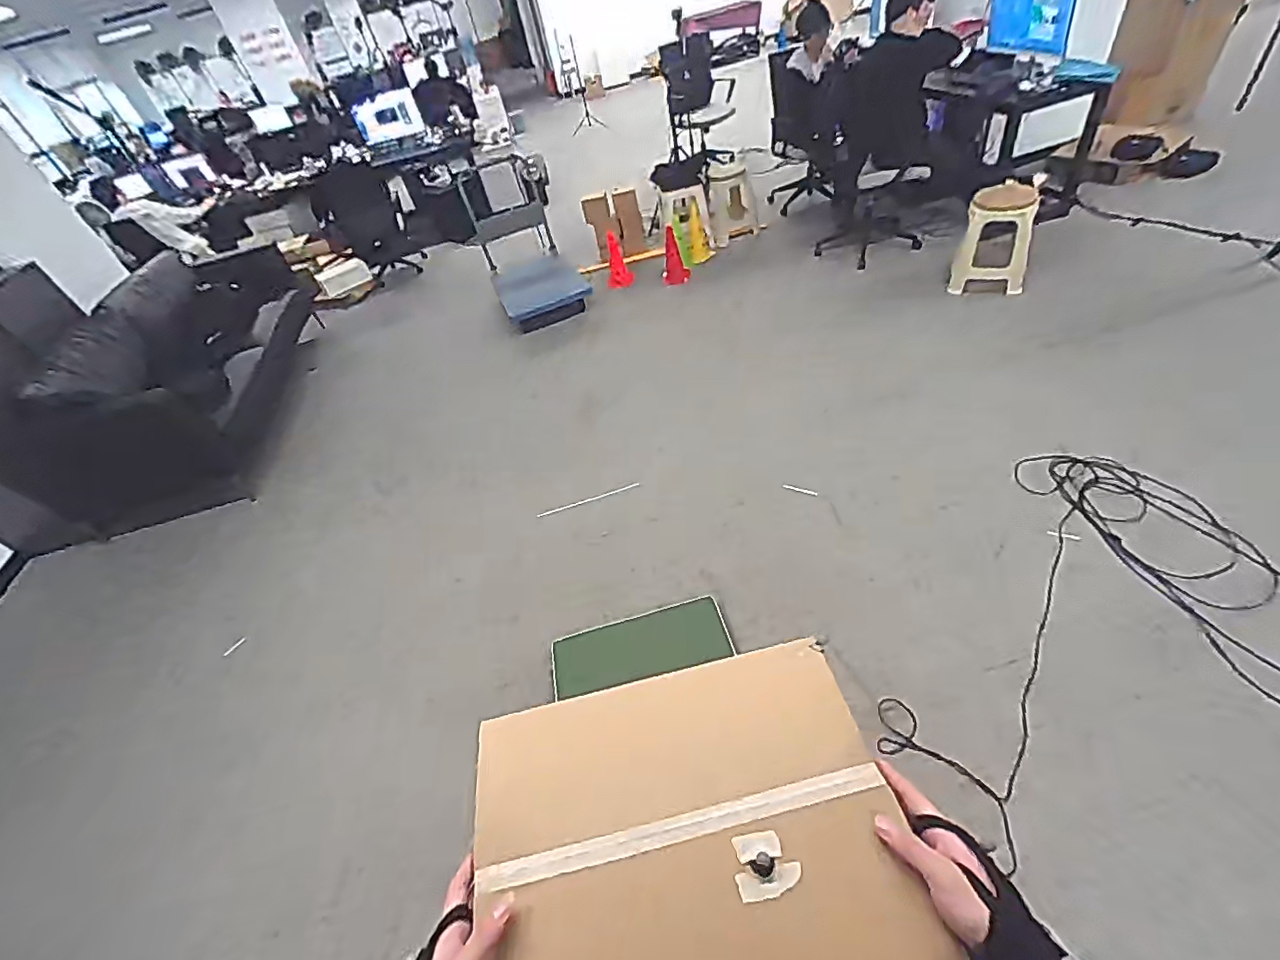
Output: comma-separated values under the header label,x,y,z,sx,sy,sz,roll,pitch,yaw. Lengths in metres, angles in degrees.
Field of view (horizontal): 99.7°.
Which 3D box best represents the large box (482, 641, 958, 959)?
label,x,y,z,sx,sy,sz,roll,pitch,yaw
large box,0.060,0.449,0.634,0.408,0.320,0.320,-14,44,-2
